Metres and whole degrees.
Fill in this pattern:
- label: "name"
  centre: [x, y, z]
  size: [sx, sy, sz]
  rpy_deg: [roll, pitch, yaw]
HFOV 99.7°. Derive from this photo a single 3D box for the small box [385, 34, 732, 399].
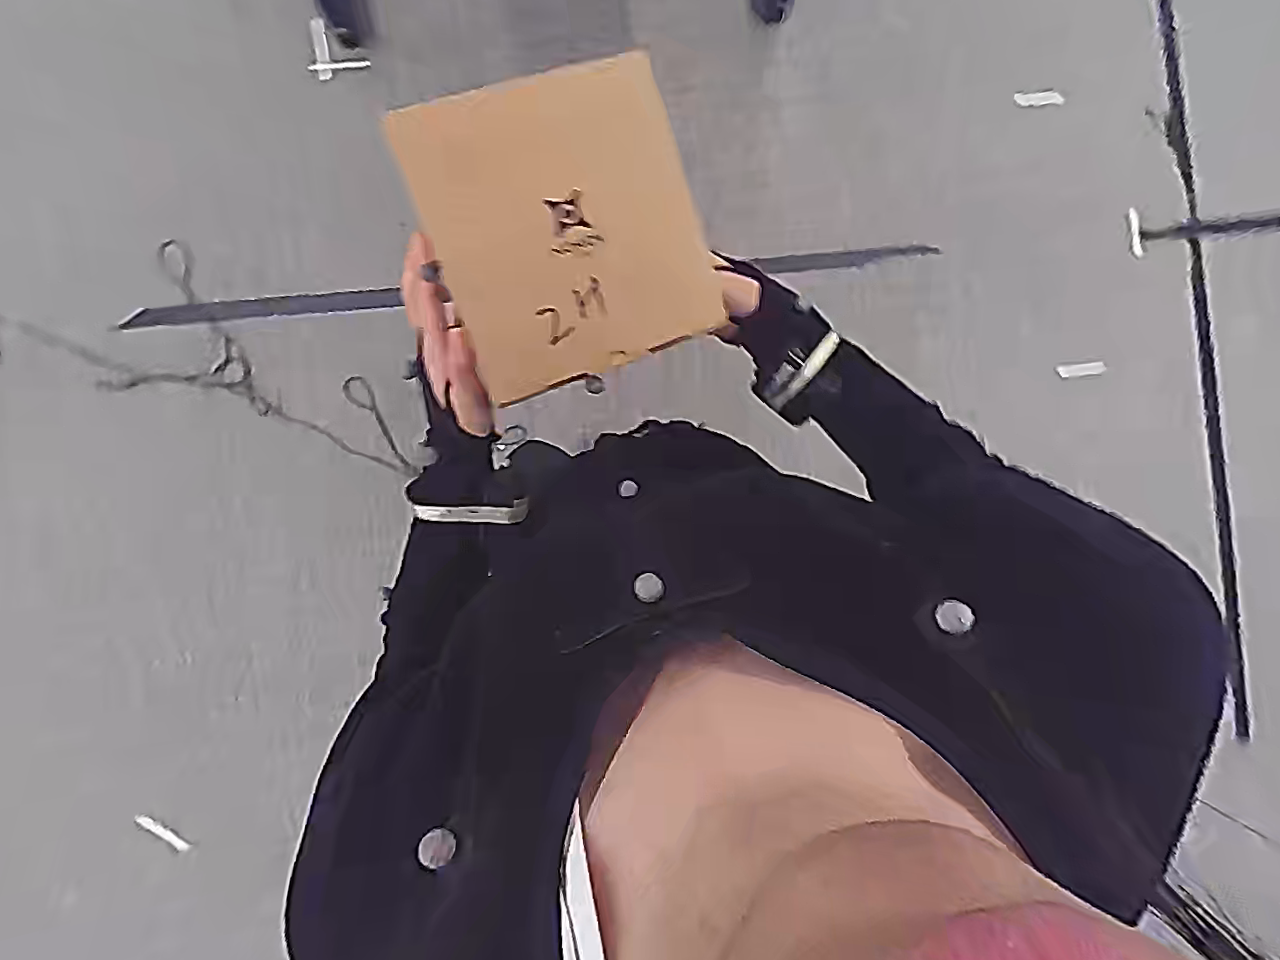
- label: "small box"
  centre: [-0.060, -0.169, 0.404]
  size: [0.168, 0.176, 0.179]
  rpy_deg: [-23, 102, -10]
